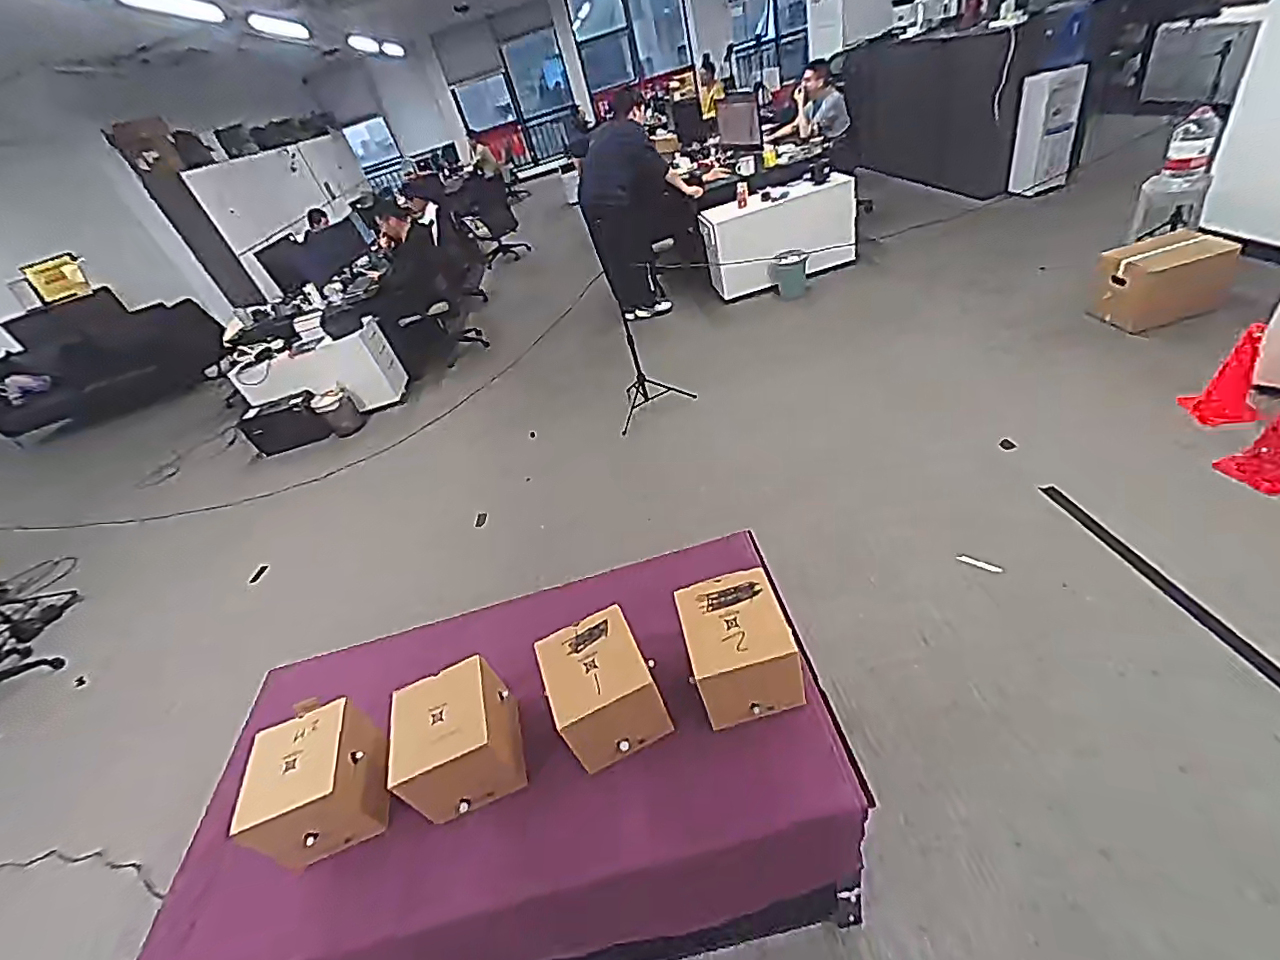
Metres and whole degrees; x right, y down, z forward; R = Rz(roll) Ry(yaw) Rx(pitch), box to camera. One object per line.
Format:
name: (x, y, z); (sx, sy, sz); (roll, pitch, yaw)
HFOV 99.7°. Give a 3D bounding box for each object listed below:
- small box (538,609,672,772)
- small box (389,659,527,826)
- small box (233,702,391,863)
small box: (-0.061, 0.369, 0.951); (0.168, 0.176, 0.179); (-25, 38, -8)
small box: (-0.313, 0.458, 0.947); (0.168, 0.176, 0.179); (-23, 37, -5)
small box: (-0.554, 0.535, 0.948); (0.168, 0.176, 0.179); (-21, 37, -5)
